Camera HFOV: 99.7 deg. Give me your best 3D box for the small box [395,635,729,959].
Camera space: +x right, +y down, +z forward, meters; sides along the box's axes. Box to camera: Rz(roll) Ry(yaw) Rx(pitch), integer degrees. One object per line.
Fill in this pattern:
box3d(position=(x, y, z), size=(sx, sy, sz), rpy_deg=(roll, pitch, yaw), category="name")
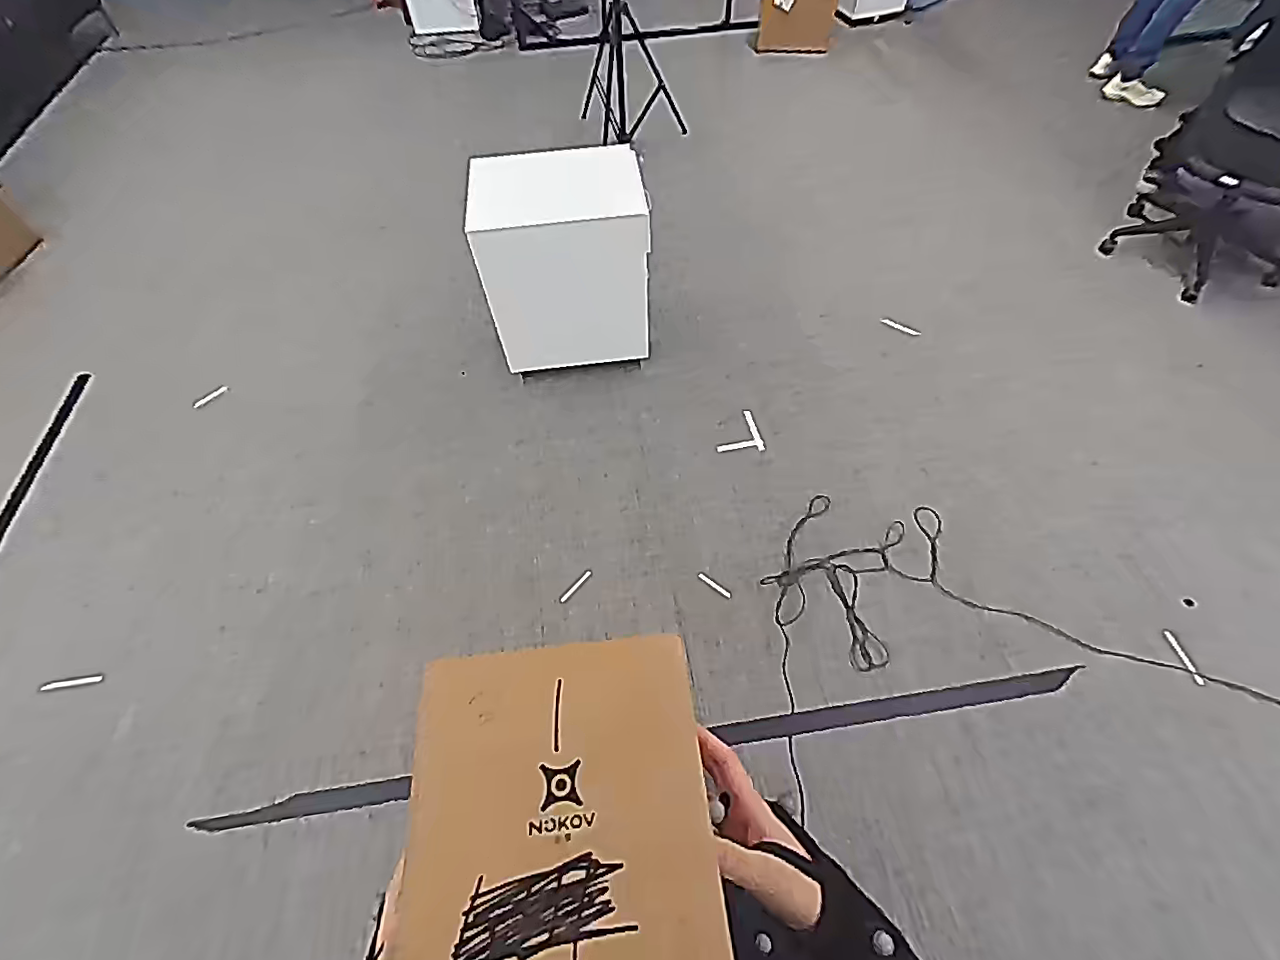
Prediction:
box3d(position=(-0.044, 0.223, 0.366), size=(0.168, 0.176, 0.179), rpy_deg=(-5, 56, -4), category="small box")
